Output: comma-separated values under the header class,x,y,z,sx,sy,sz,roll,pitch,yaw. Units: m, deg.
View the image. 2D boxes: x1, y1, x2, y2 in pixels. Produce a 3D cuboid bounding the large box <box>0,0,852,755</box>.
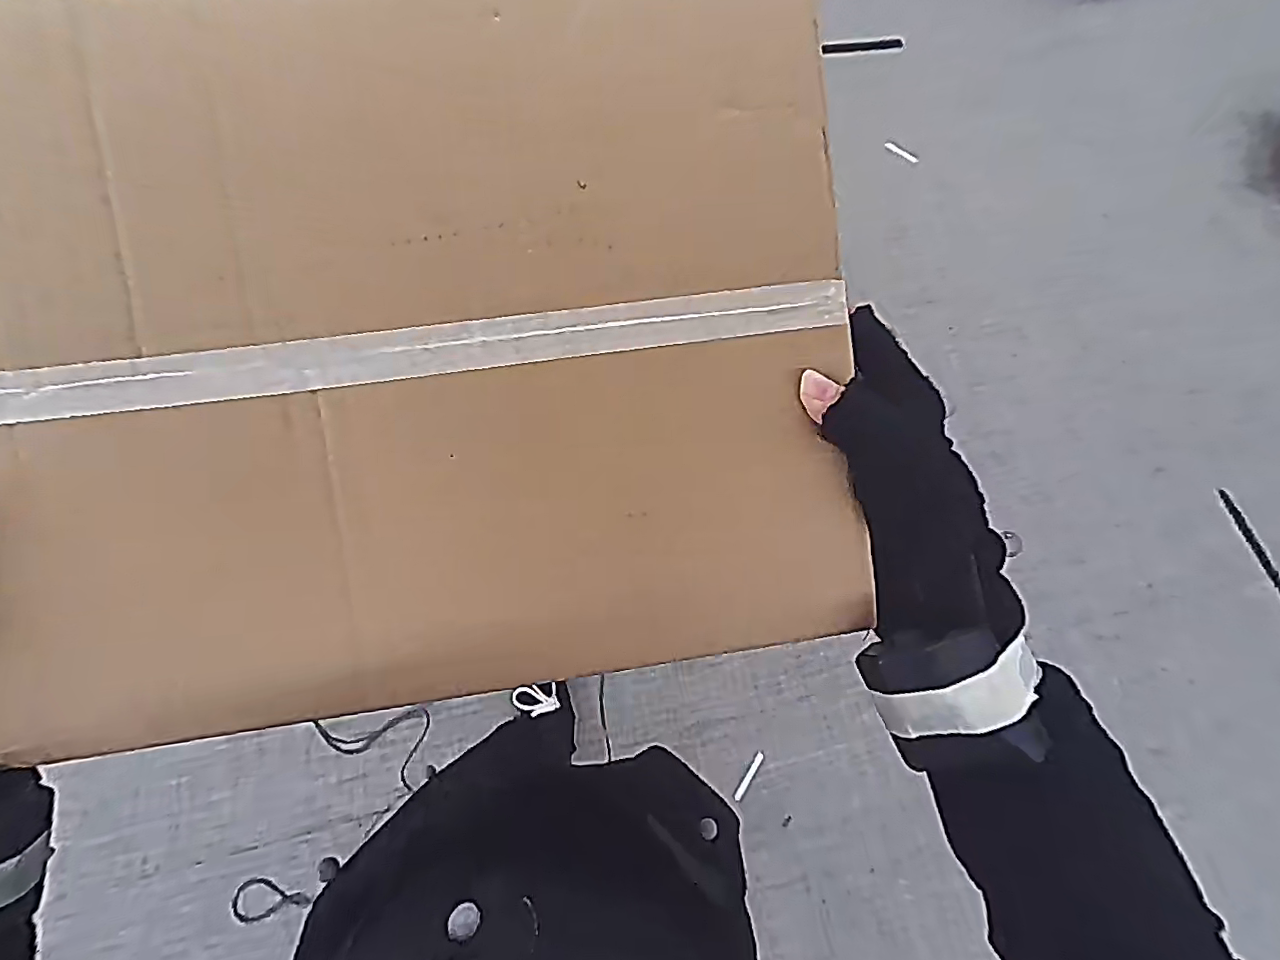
class,x,y,z,sx,sy,sz,roll,pitch,yaw
large box,-0.117,-0.063,0.396,0.408,0.320,0.320,-7,94,-5
